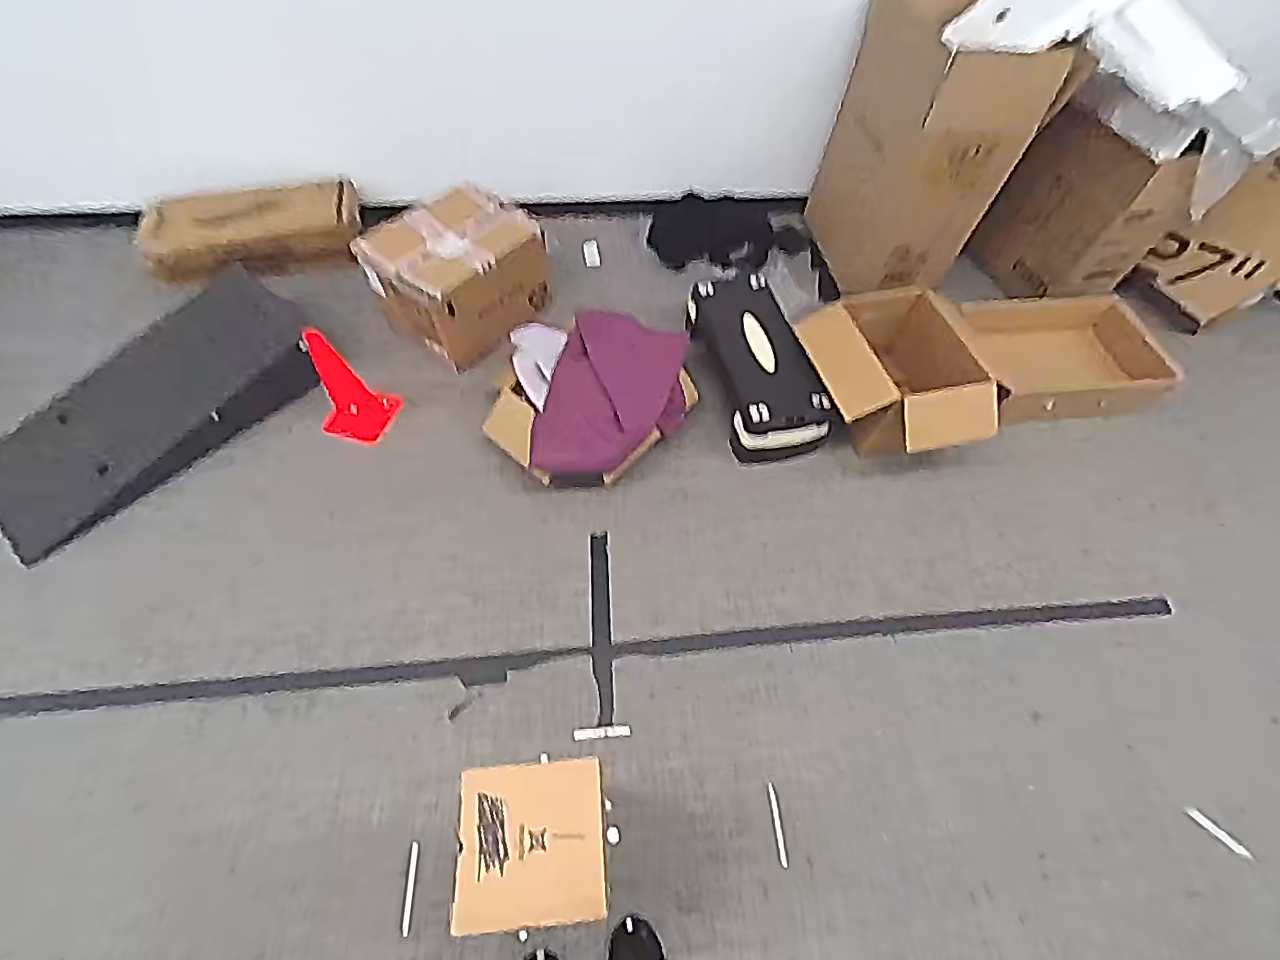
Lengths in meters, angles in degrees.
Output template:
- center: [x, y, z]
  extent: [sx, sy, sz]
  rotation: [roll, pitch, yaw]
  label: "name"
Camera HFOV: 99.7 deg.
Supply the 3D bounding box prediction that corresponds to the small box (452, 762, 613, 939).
- center: [-0.129, 0.477, 0.709]
  extent: [0.179, 0.176, 0.168]
  rotation: [-4, 58, -4]
  label: "small box"
